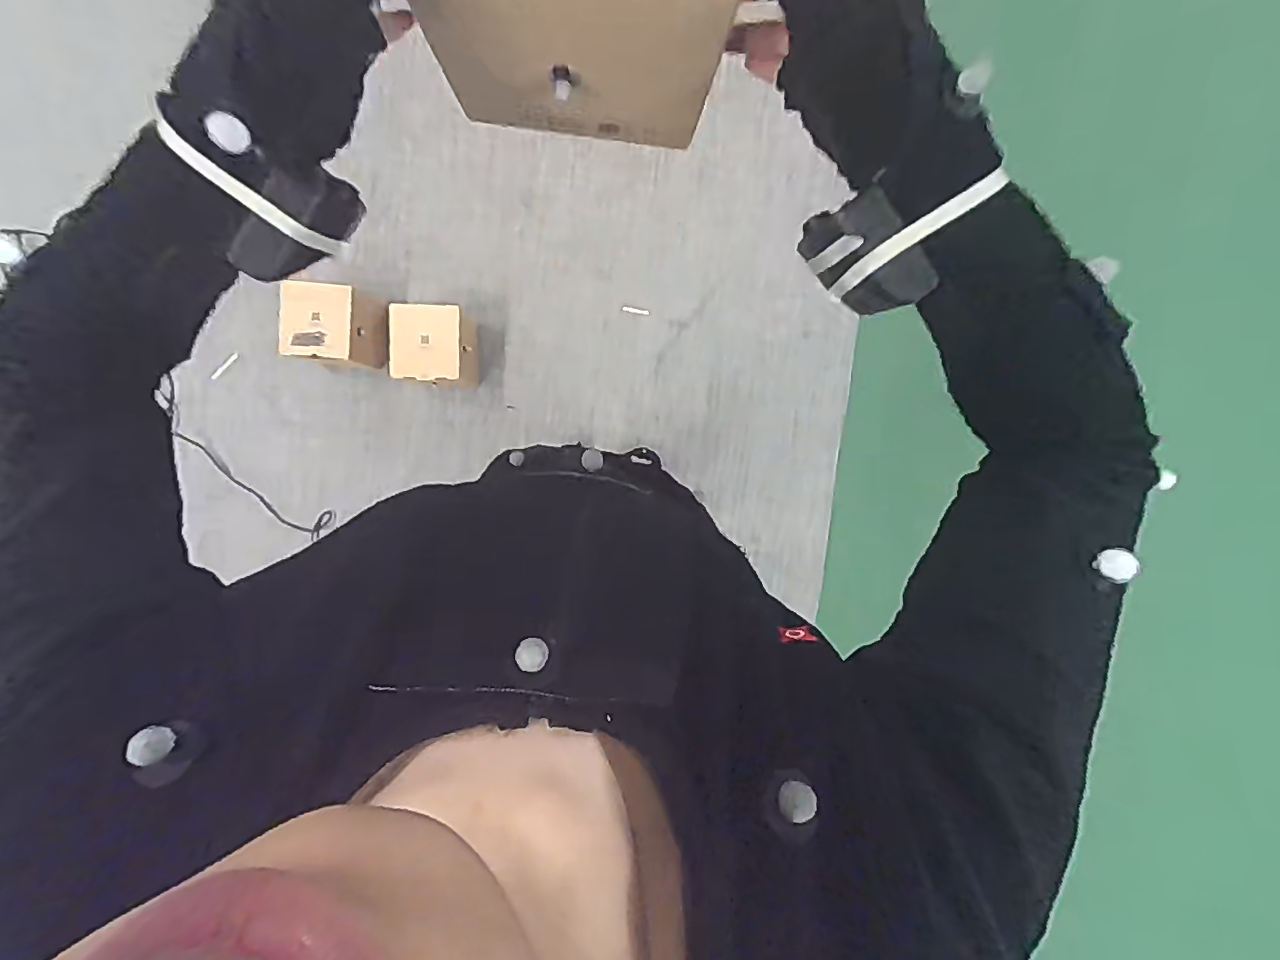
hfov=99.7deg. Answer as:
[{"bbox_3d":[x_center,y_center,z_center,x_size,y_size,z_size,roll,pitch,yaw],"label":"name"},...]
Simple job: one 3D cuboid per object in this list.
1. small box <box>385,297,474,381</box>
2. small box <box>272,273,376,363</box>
[{"bbox_3d":[-0.519,-0.345,1.350,0.168,0.176,0.179,1,96,-3],"label":"small box"},{"bbox_3d":[-0.770,-0.390,1.332,0.168,0.176,0.179,4,94,-3],"label":"small box"}]
